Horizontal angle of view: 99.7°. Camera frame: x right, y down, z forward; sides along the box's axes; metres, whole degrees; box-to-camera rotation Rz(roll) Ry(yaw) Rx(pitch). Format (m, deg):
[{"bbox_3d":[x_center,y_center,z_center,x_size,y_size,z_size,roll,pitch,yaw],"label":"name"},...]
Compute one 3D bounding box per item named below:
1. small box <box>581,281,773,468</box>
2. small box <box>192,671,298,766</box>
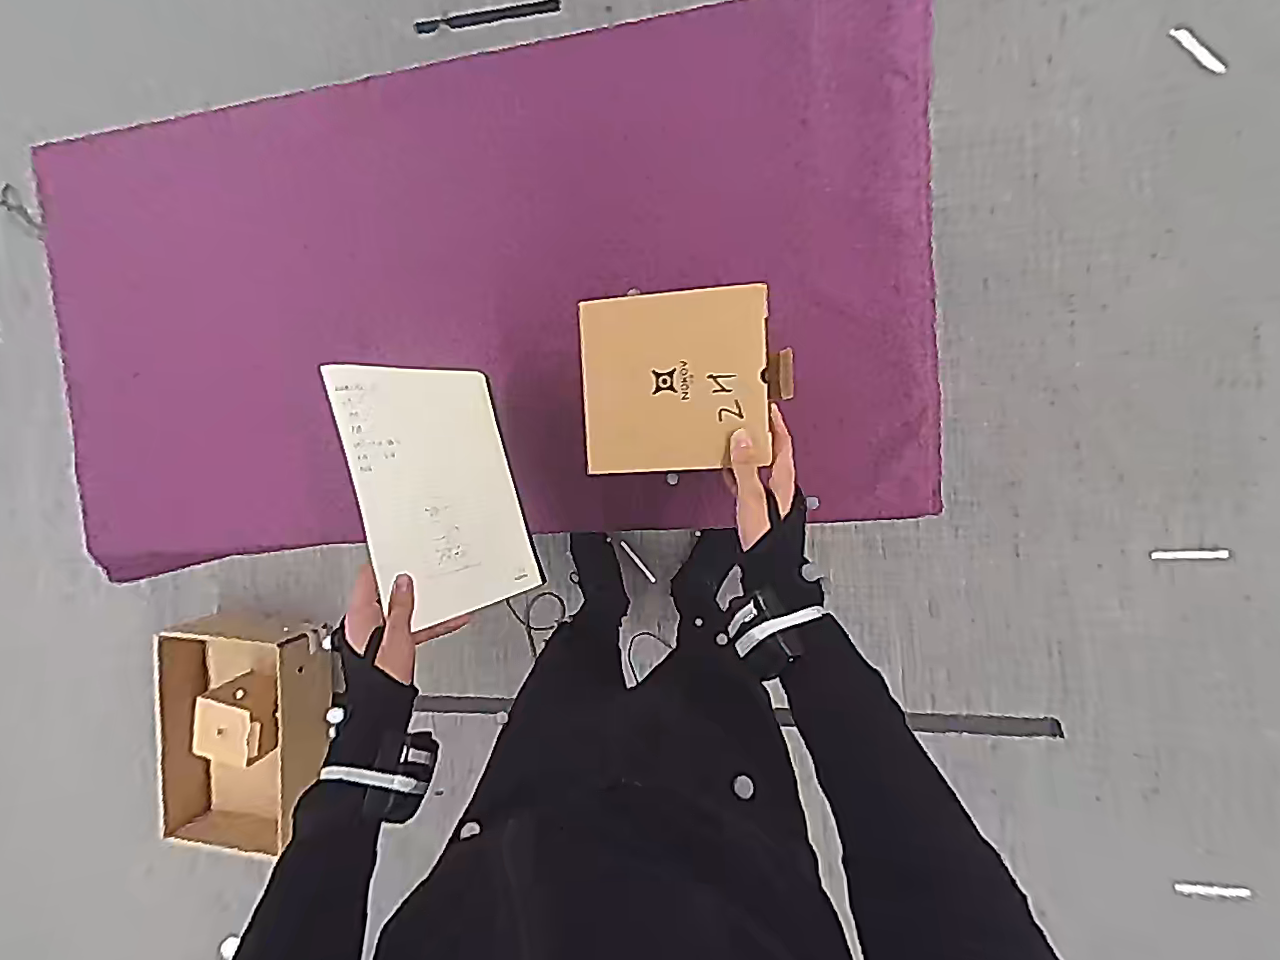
[{"bbox_3d":[0.047,-0.096,0.572,0.179,0.176,0.168,-2,93,10],"label":"small box"},{"bbox_3d":[-1.102,0.660,1.520,0.179,0.176,0.168,11,96,9],"label":"small box"}]
